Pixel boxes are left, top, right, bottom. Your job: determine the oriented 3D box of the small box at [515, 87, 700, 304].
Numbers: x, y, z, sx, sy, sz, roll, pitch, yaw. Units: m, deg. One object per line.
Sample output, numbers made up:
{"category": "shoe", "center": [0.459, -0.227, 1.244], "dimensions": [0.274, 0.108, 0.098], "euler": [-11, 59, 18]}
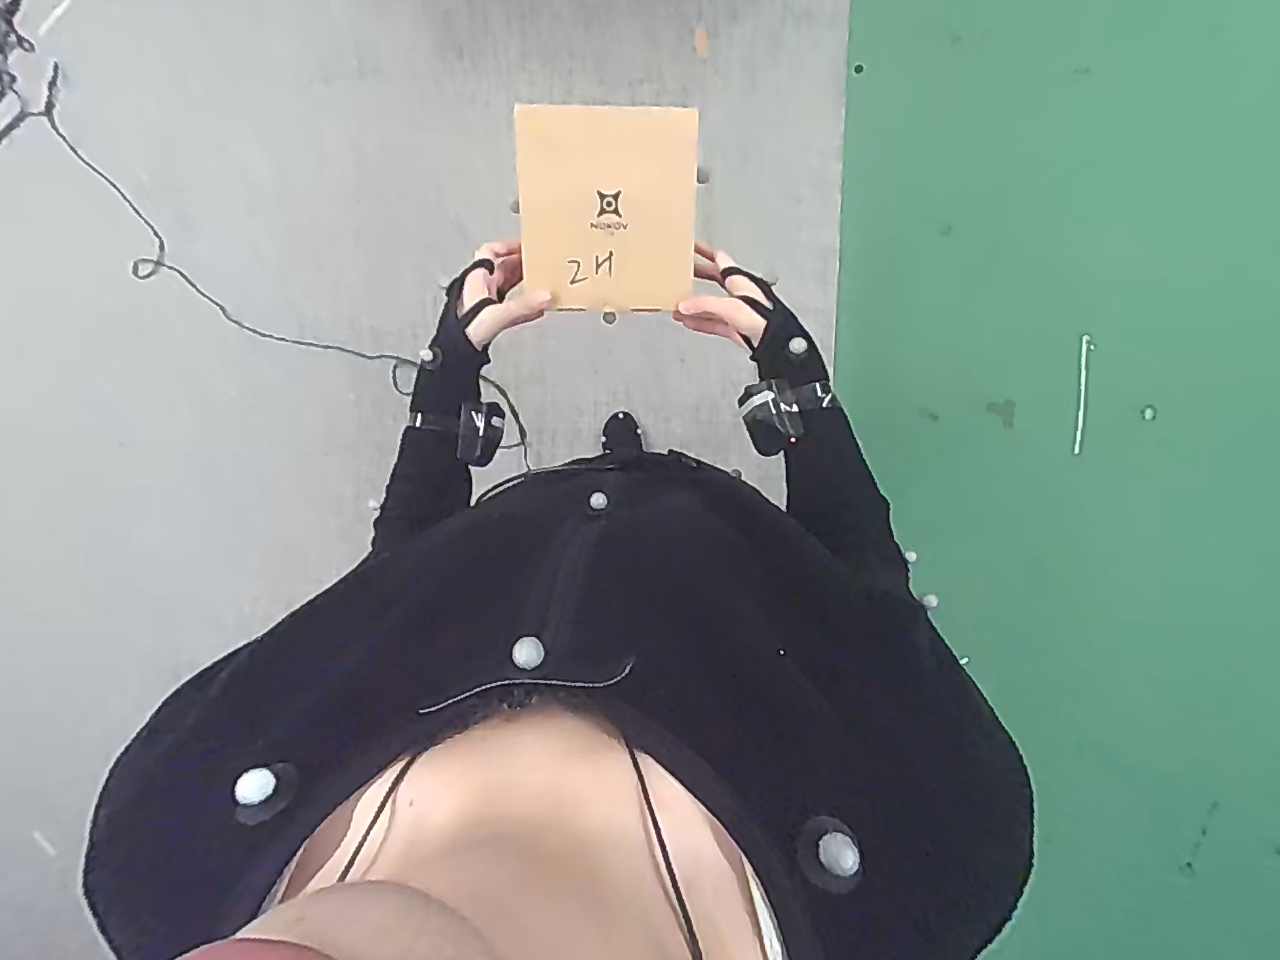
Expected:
{"category": "small box", "center": [-0.033, -0.281, 0.572], "dimensions": [0.168, 0.176, 0.179], "euler": [0, 109, -2]}
